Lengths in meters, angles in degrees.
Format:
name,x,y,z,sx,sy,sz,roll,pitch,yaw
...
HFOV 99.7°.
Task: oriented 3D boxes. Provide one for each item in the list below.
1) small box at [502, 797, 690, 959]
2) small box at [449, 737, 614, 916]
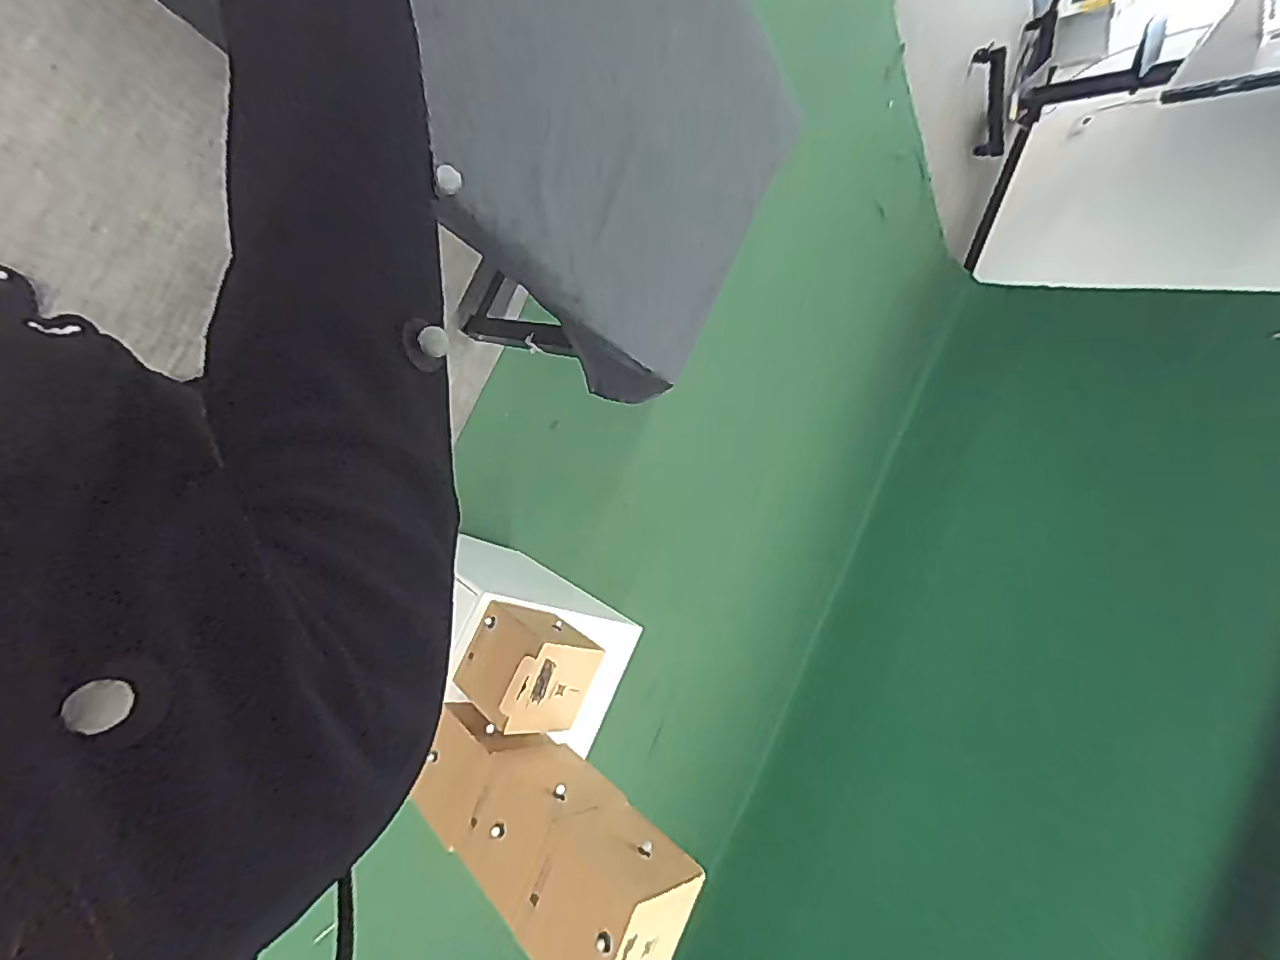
name,x,y,z,sx,sy,sz,roll,pitch,yaw
small box,-0.062,0.594,0.784,0.179,0.176,0.168,29,83,-51
small box,-0.180,0.550,0.889,0.179,0.176,0.168,24,87,-50
